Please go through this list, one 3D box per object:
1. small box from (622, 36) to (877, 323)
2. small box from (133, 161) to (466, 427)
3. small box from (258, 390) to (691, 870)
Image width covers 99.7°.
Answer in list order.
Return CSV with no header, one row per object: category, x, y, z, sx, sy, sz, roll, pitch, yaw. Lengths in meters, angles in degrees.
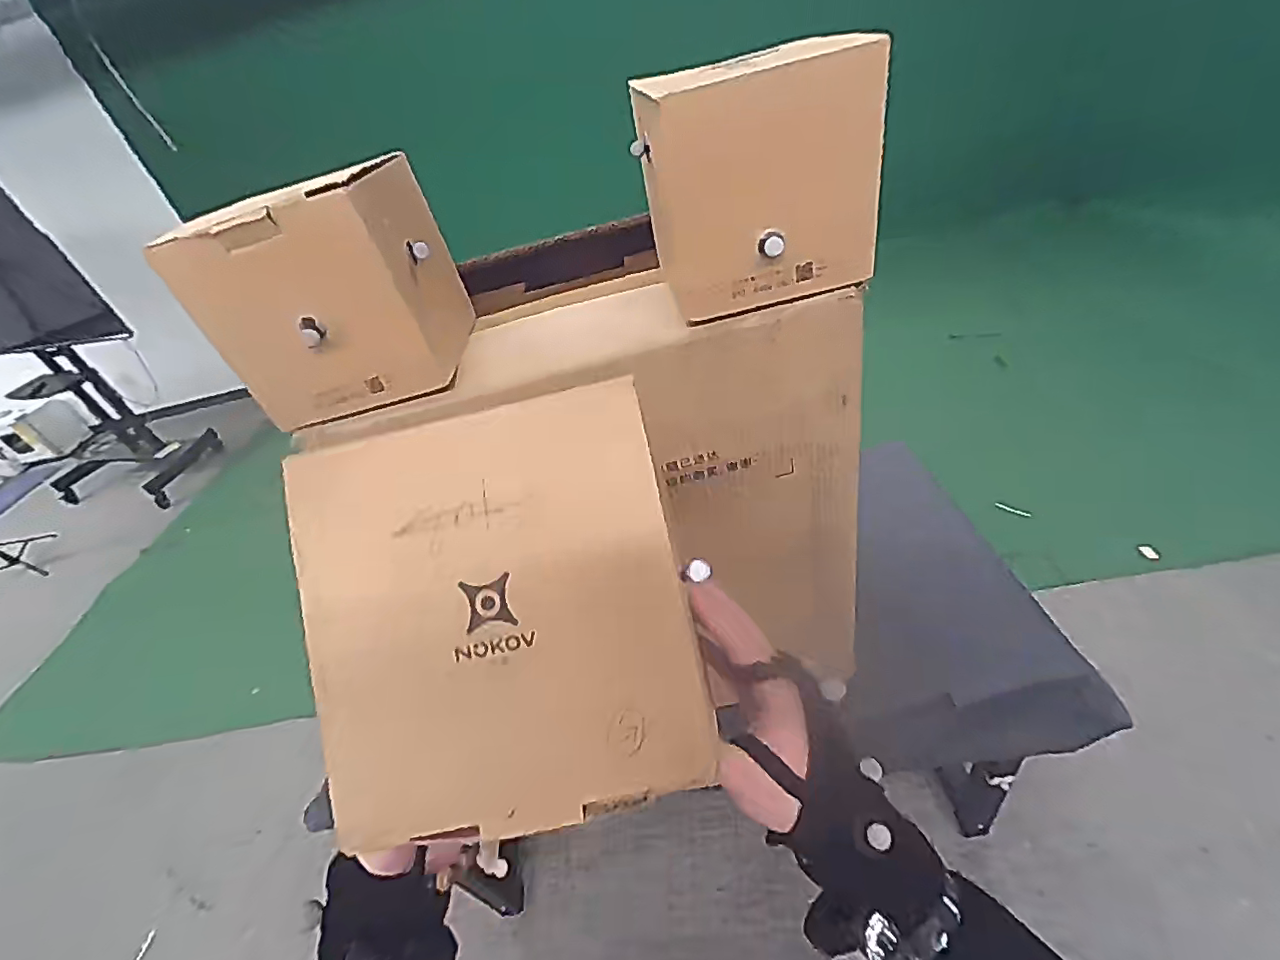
small box,0.086,-0.260,0.474,0.168,0.176,0.179,-14,39,3
small box,-0.281,-0.166,0.501,0.168,0.176,0.179,-15,39,4
small box,-0.067,0.069,0.307,0.168,0.176,0.179,-13,83,3
